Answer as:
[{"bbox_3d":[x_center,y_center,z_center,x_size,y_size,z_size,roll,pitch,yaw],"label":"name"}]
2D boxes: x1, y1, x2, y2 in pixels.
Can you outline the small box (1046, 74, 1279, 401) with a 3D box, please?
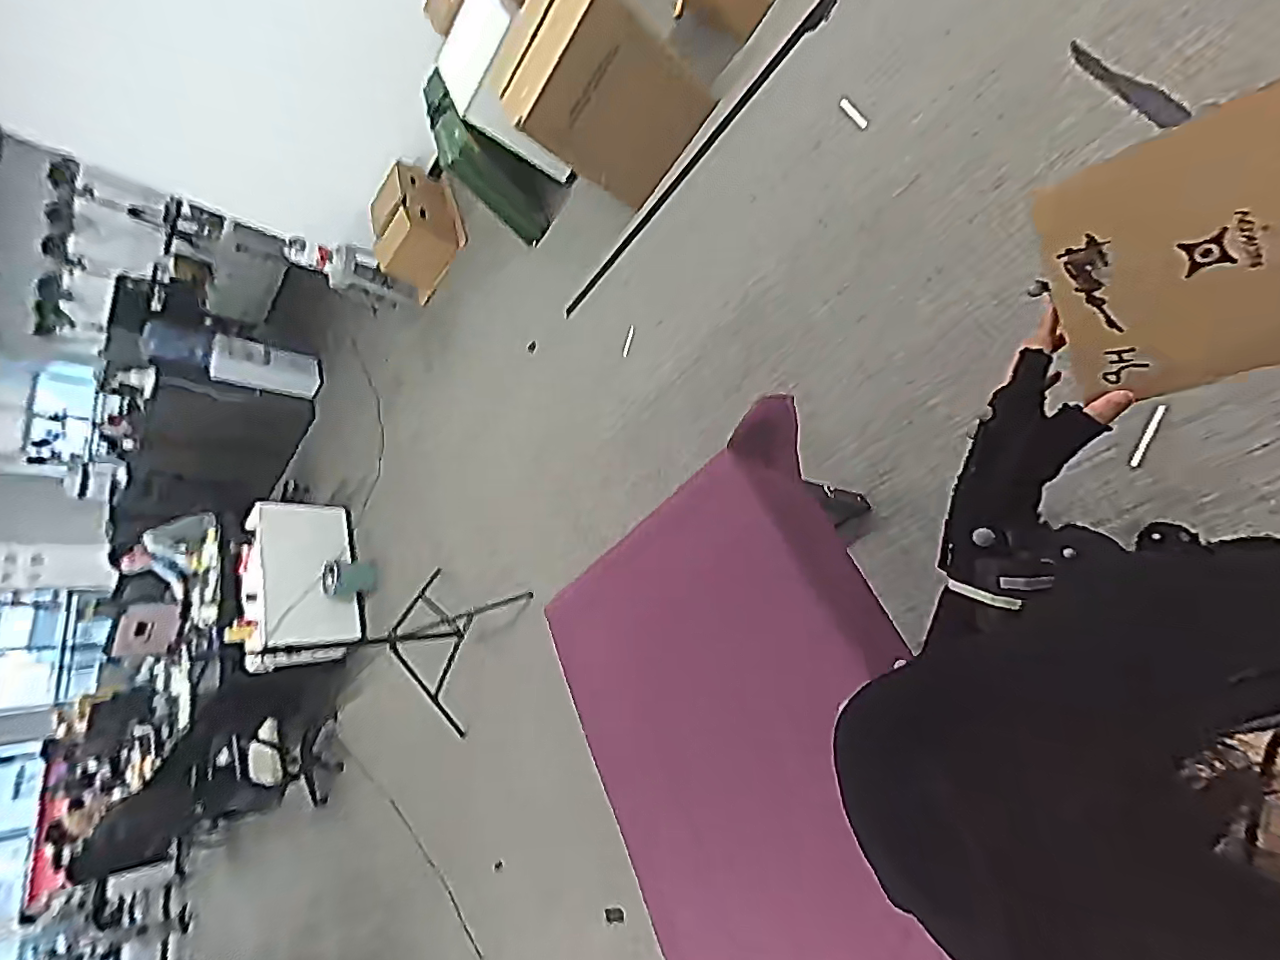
[{"bbox_3d":[0.416,-0.170,0.385,0.179,0.176,0.168,-14,96,42],"label":"small box"}]
